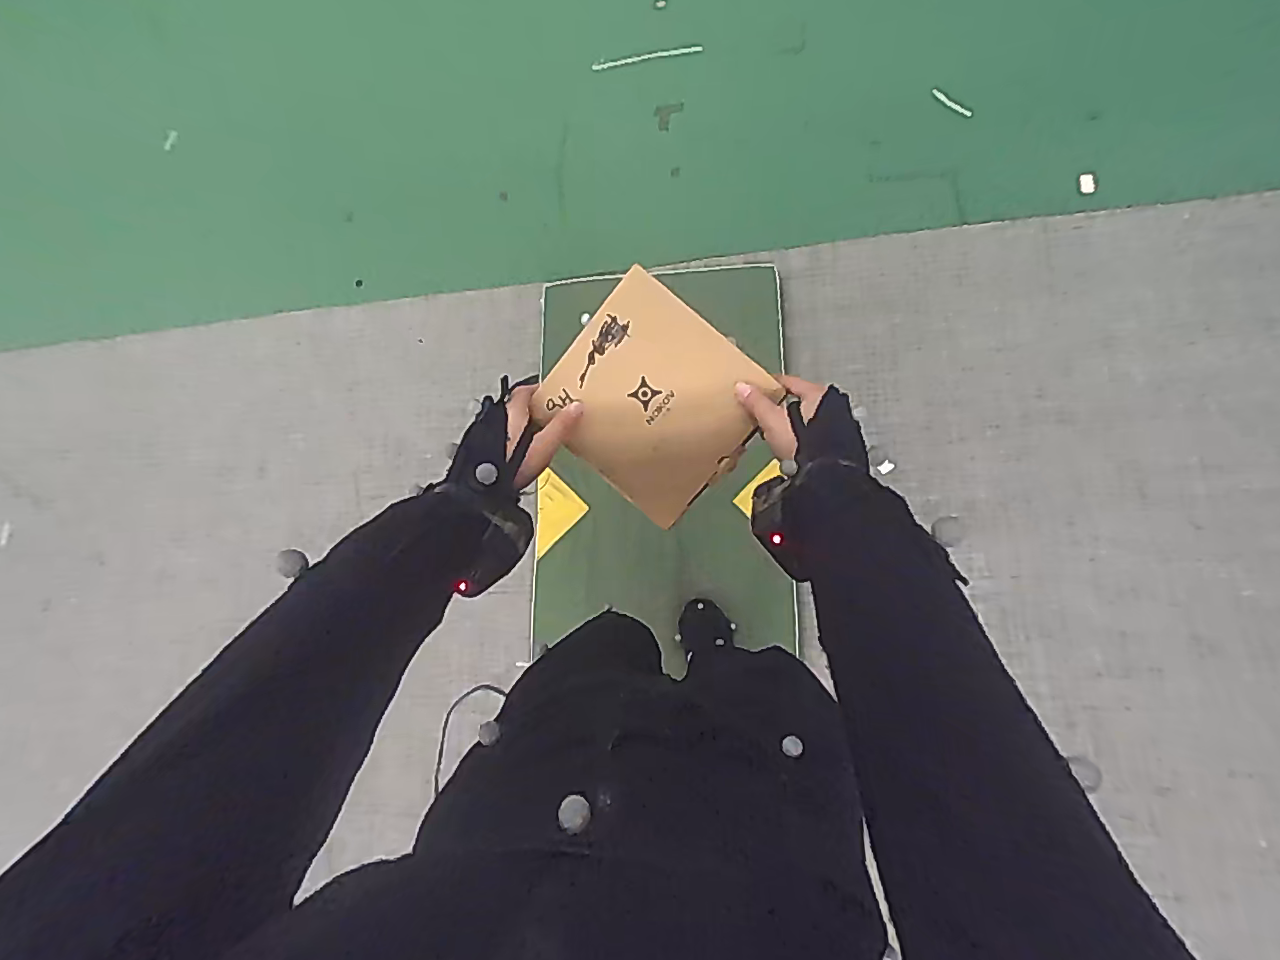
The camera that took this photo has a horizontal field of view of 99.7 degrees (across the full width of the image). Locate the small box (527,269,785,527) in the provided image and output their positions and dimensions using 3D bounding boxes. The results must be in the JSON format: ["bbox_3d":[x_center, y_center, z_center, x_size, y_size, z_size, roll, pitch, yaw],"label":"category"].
[{"bbox_3d":[0.021,-0.081,0.561,0.179,0.176,0.168,41,99,0],"label":"small box"}]
